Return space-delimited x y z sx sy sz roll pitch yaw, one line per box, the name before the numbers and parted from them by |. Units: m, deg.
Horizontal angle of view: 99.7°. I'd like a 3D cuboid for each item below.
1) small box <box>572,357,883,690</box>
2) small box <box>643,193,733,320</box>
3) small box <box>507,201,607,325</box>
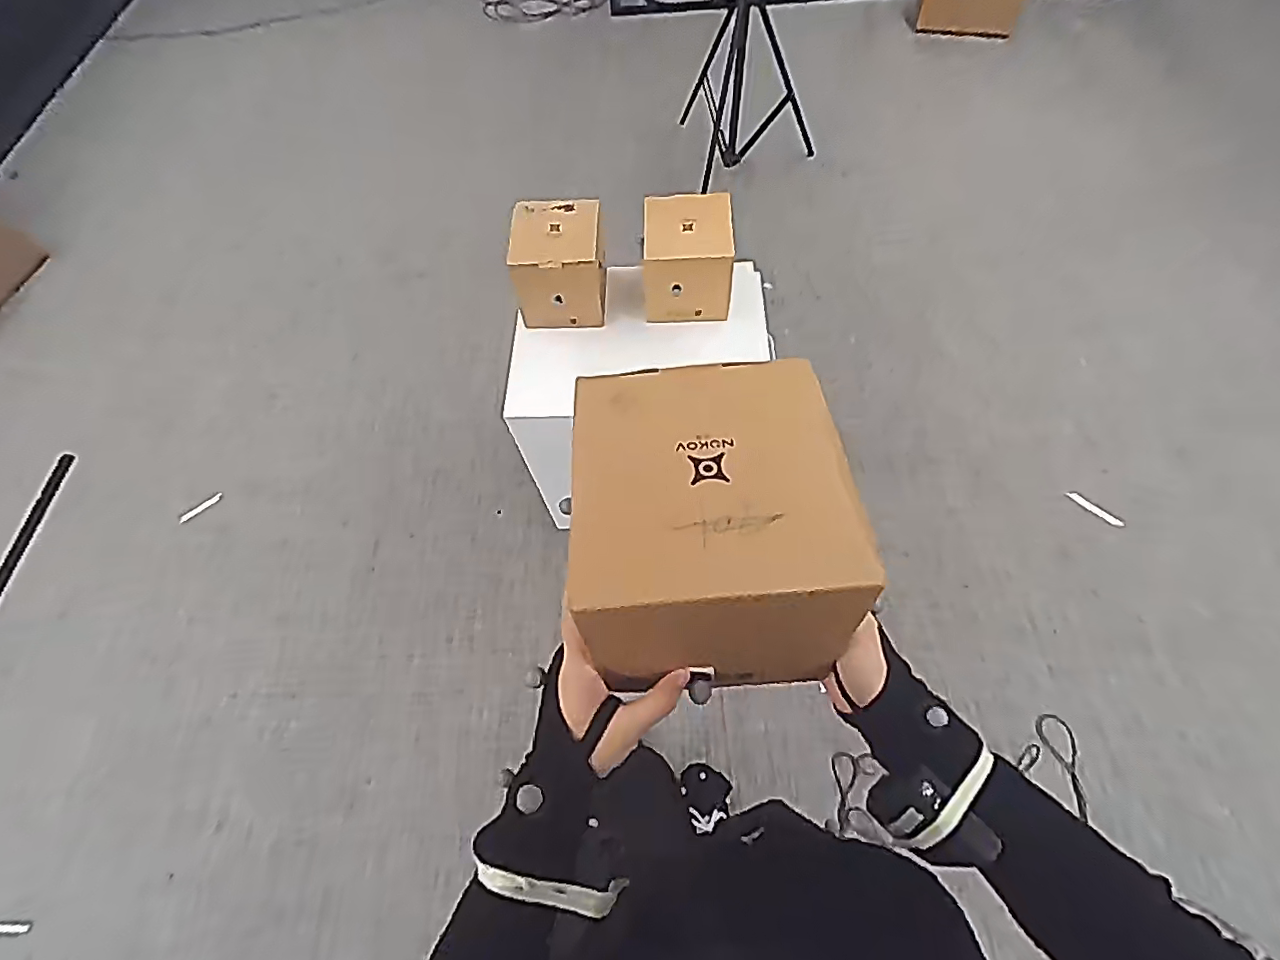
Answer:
small box | 0.046 0.037 0.395 0.168 0.176 0.179 -6 54 1
small box | 0.094 -0.436 1.079 0.168 0.176 0.179 -1 63 3
small box | -0.157 -0.428 1.088 0.168 0.176 0.179 0 64 2
